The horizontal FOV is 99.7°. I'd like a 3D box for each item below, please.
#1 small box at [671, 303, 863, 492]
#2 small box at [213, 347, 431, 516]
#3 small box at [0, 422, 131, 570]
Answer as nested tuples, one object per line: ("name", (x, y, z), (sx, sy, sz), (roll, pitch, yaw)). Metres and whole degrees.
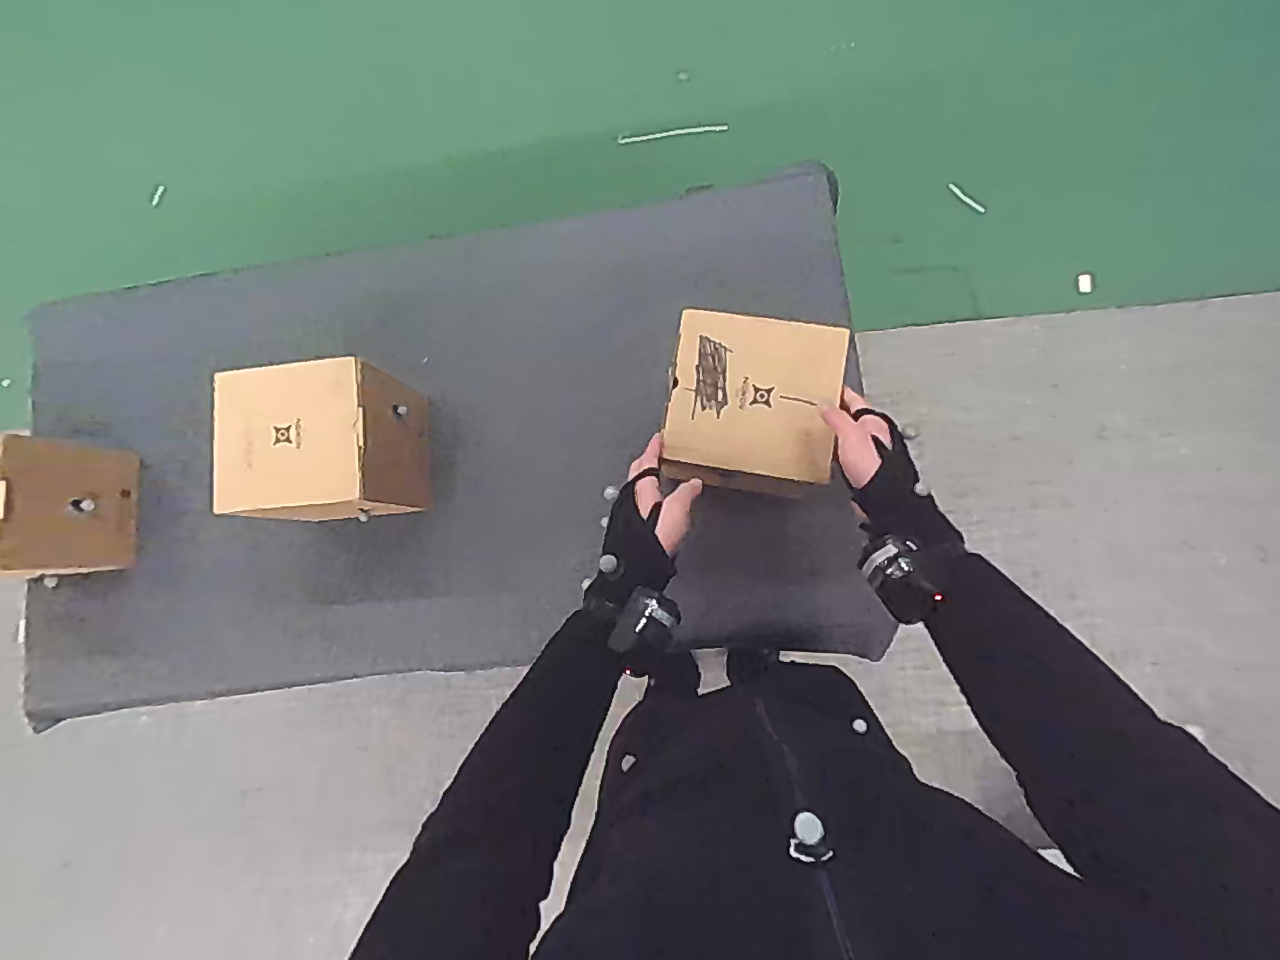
("small box", (0.136, -0.083, 0.628), (0.179, 0.176, 0.168), (9, 84, 5))
("small box", (-0.374, -0.049, 0.667), (0.179, 0.176, 0.168), (-6, 81, 5))
("small box", (-0.806, 0.028, 0.687), (0.179, 0.176, 0.168), (-6, 82, 2))
